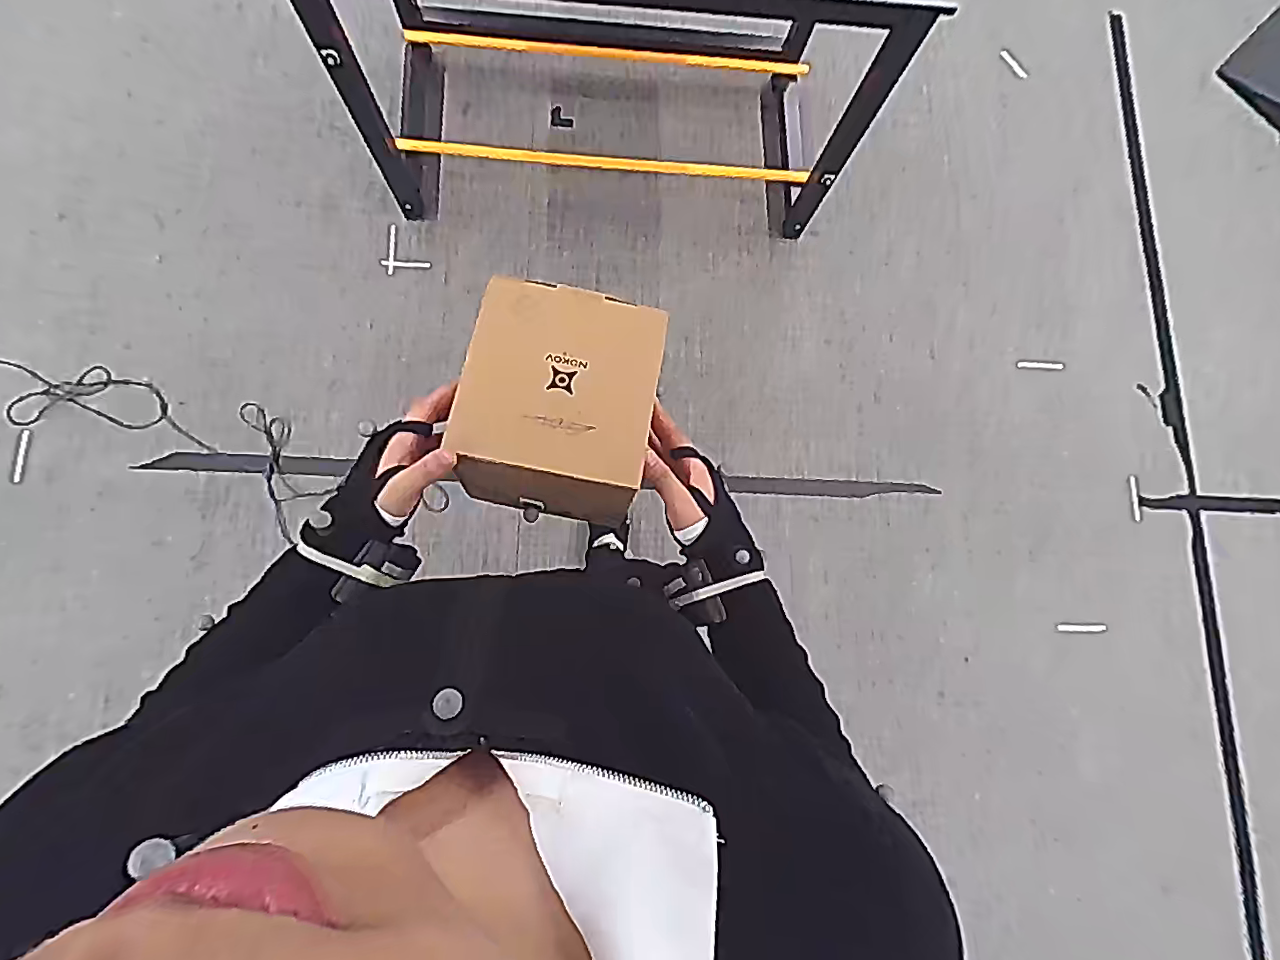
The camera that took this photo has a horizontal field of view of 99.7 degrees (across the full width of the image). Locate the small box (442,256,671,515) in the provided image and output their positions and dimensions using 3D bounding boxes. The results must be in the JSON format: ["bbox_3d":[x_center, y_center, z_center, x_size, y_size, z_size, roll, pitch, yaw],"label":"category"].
[{"bbox_3d":[-0.076,-0.078,0.533,0.168,0.176,0.179,11,73,-5],"label":"small box"}]
